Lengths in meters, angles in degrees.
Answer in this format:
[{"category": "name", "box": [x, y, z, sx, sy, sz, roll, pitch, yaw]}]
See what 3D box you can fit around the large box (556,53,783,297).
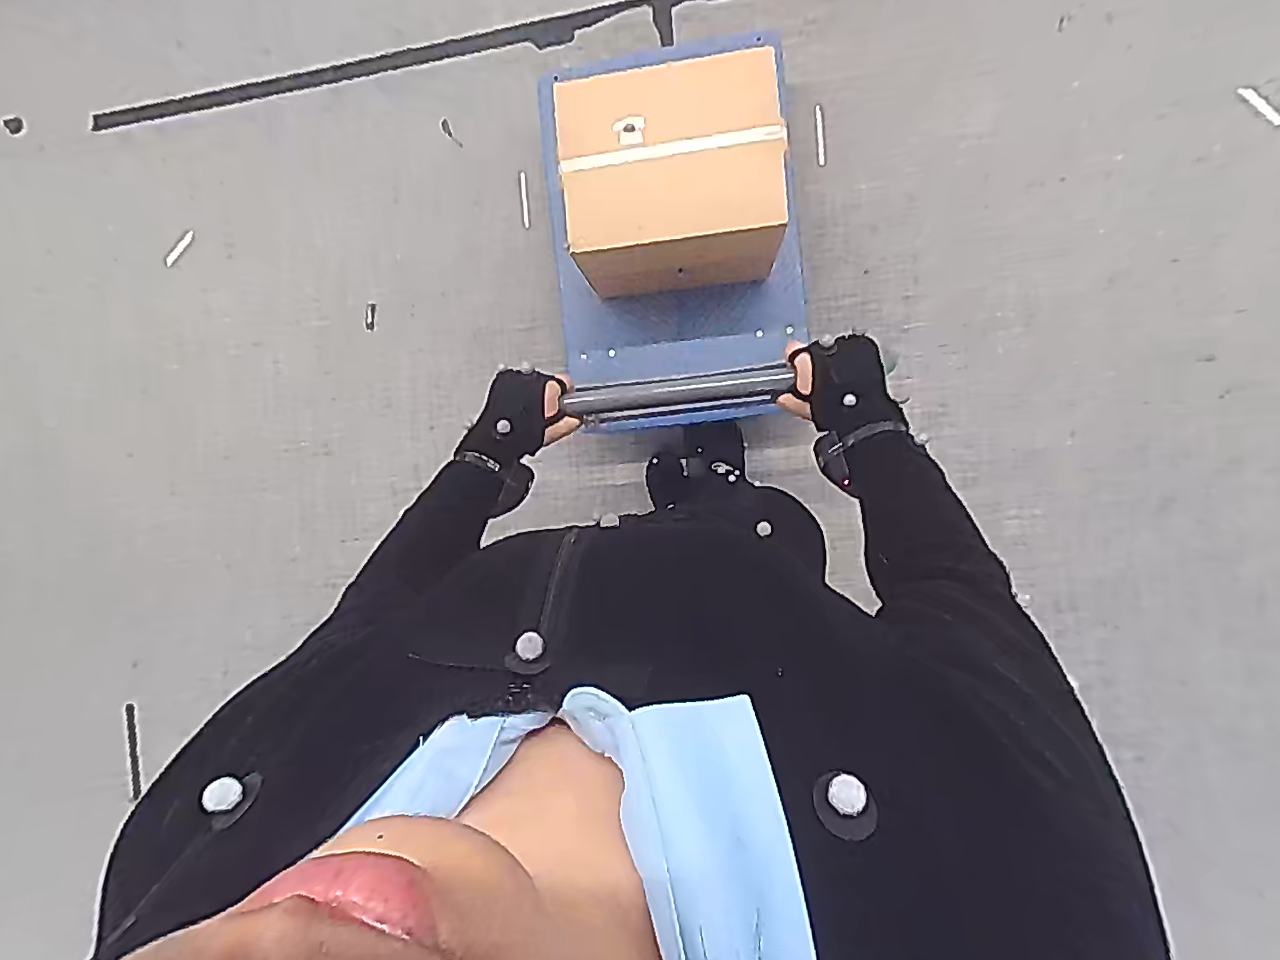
[{"category": "large box", "box": [0.071, -0.607, 1.150, 0.408, 0.320, 0.320, -5, 91, 8]}]
